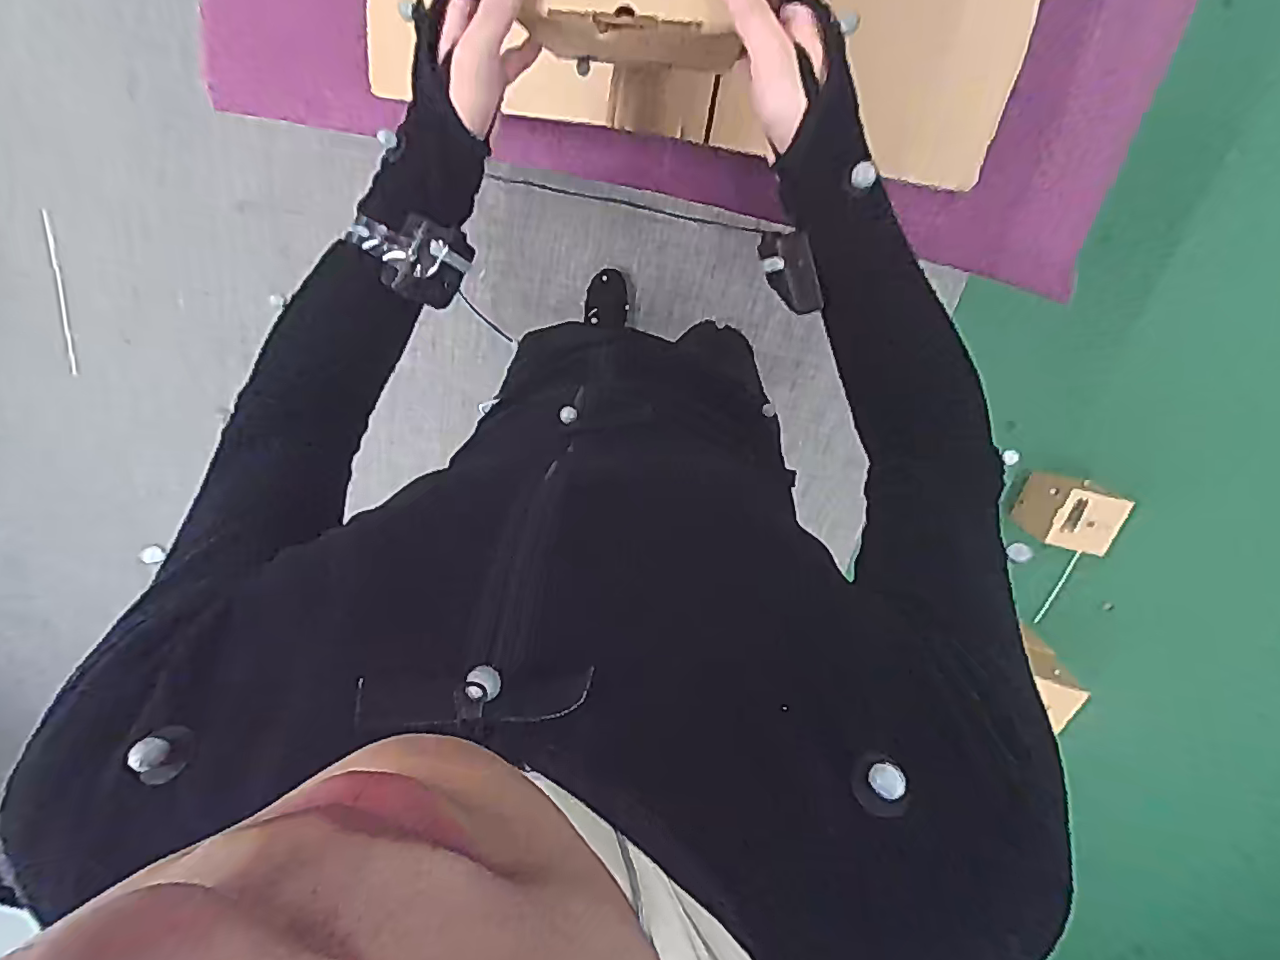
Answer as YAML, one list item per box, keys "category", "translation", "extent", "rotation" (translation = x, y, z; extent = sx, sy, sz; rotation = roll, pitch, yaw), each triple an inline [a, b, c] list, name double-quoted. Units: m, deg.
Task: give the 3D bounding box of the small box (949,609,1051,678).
- category: "small box"
  translation: [1.126, 0.534, 1.708]
  extent: [0.179, 0.176, 0.168]
  rotation: [16, 111, -1]

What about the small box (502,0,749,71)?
- category: "small box"
  translation: [0.004, -0.413, 0.381]
  extent: [0.168, 0.176, 0.179]
  rotation: [6, 118, 1]

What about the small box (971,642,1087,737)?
- category: "small box"
  translation: [1.109, 0.595, 1.556]
  extent: [0.179, 0.176, 0.168]
  rotation: [18, 111, -2]
